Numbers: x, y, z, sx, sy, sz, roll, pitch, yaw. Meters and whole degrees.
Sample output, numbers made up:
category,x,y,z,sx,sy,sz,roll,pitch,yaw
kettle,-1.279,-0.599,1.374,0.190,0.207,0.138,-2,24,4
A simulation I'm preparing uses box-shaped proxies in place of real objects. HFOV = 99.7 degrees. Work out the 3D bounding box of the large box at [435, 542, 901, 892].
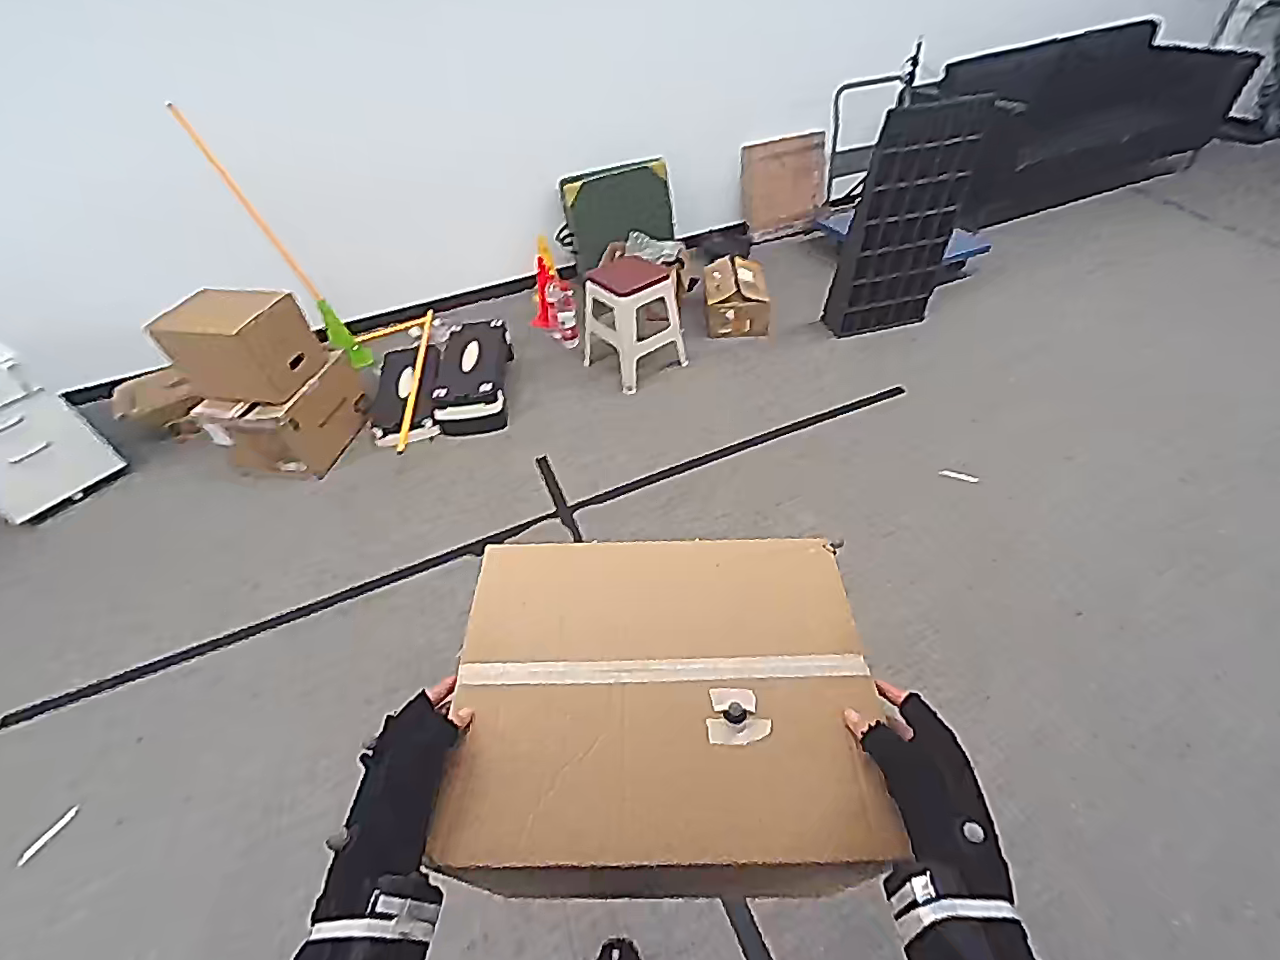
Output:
category,x,y,z,sx,sy,sz,roll,pitch,yaw
large box,0.024,0.292,0.662,0.408,0.320,0.320,0,48,1
